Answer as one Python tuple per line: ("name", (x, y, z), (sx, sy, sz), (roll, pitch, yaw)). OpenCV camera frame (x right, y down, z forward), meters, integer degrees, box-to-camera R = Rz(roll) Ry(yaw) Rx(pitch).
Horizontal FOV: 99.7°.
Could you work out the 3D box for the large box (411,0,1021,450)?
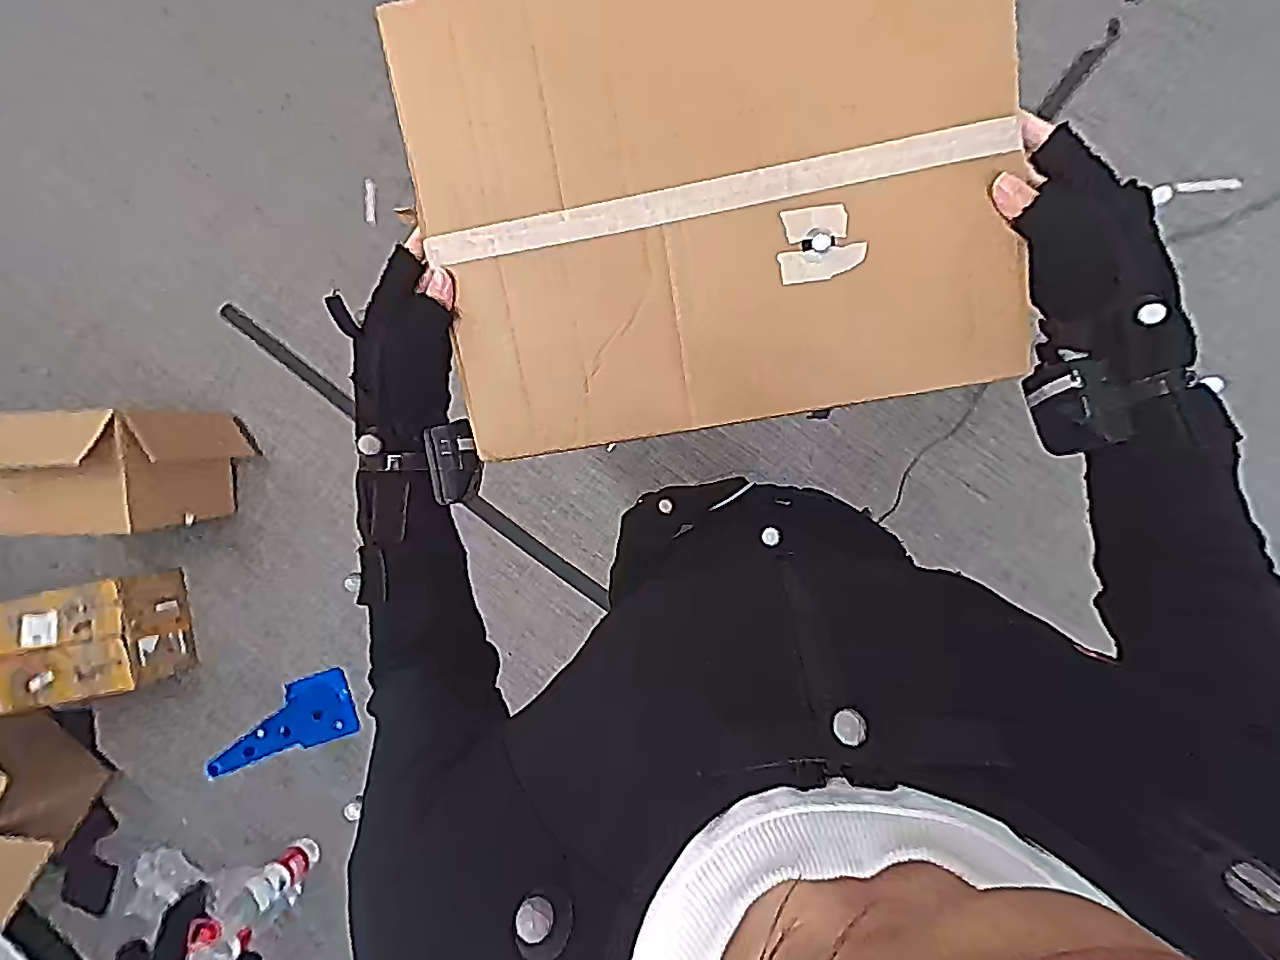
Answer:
("large box", (0.065, -0.229, 0.530), (0.408, 0.320, 0.320), (-9, 101, 4))
